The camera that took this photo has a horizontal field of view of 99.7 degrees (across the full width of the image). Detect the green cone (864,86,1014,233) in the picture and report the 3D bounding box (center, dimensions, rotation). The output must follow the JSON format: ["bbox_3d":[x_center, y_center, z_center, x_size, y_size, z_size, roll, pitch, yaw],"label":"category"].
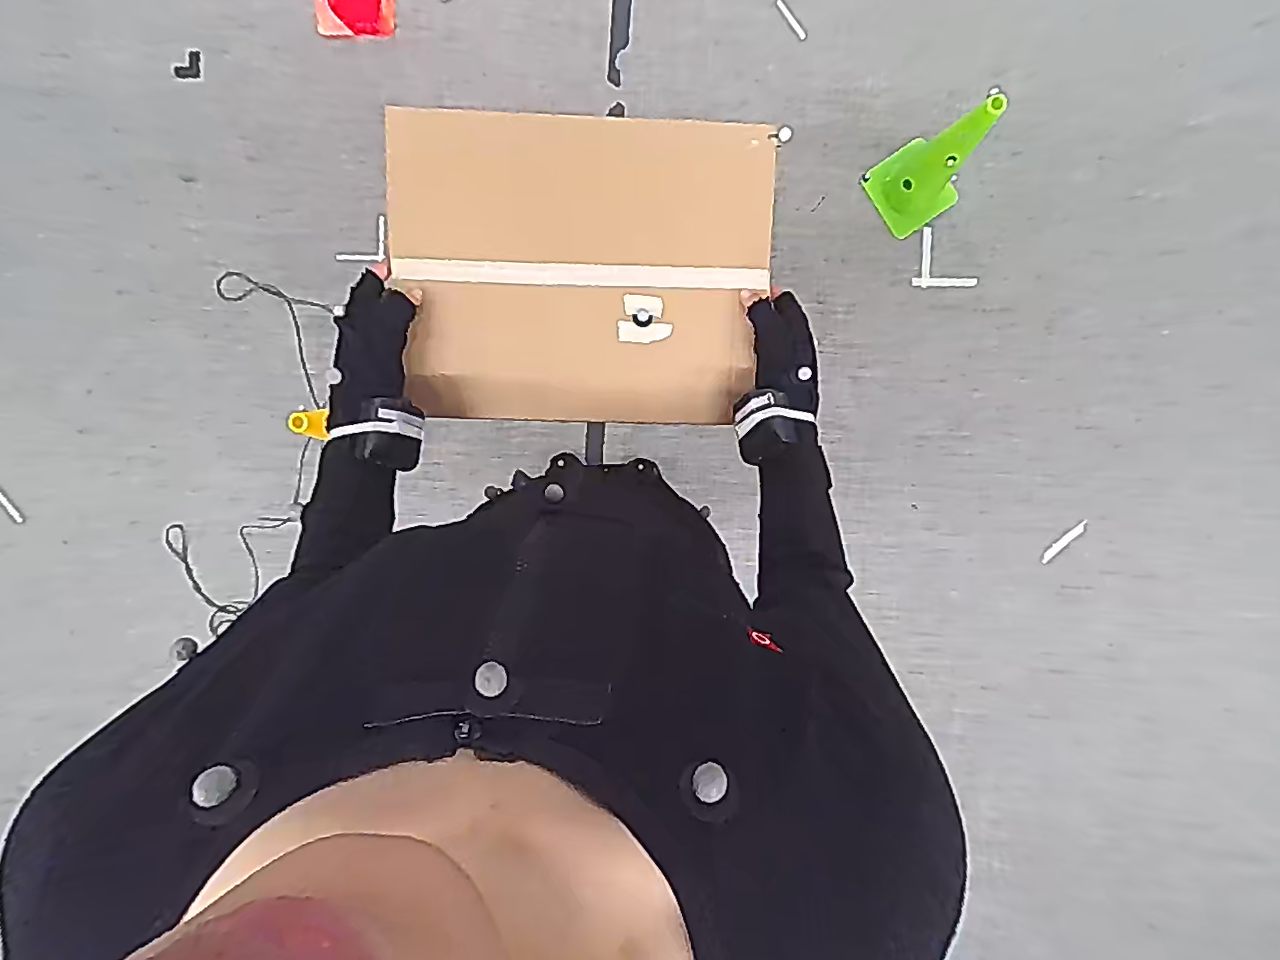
[{"bbox_3d":[0.722,-0.773,1.259,0.202,0.368,0.200,-35,94,0],"label":"green cone"}]

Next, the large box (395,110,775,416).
[{"bbox_3d":[-0.065,-0.249,0.733,0.408,0.320,0.320,1,100,-3],"label":"large box"}]

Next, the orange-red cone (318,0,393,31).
[{"bbox_3d":[-0.739,-1.250,1.227,0.198,0.360,0.199,1,95,1],"label":"orange-red cone"}]
